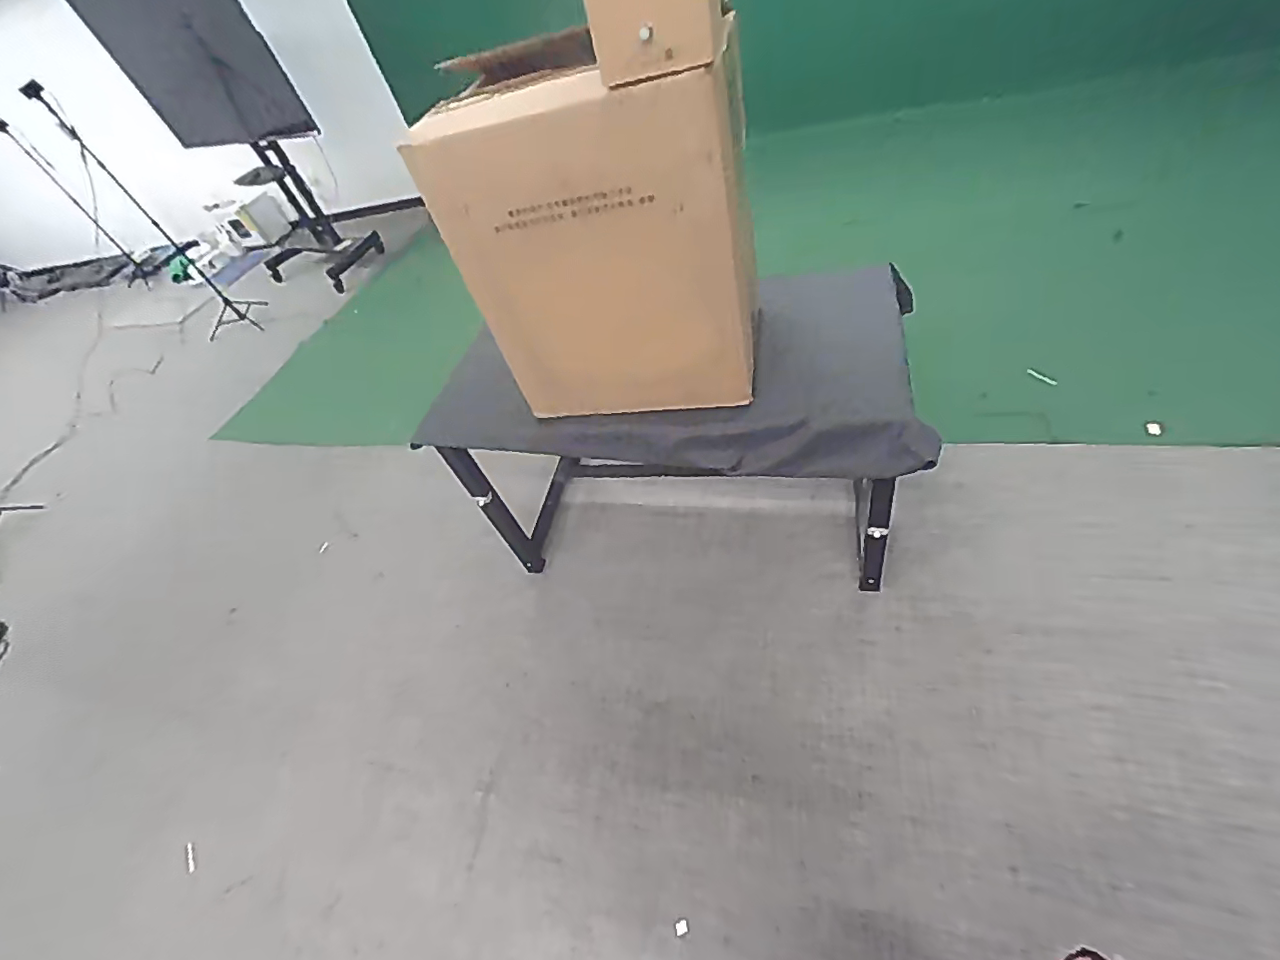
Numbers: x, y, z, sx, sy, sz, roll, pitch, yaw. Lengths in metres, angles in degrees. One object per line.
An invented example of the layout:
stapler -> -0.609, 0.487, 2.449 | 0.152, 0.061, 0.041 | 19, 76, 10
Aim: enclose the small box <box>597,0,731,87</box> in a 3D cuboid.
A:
small box -> 0.035, -0.688, 0.763 | 0.168, 0.176, 0.179 | 0, 51, 16
